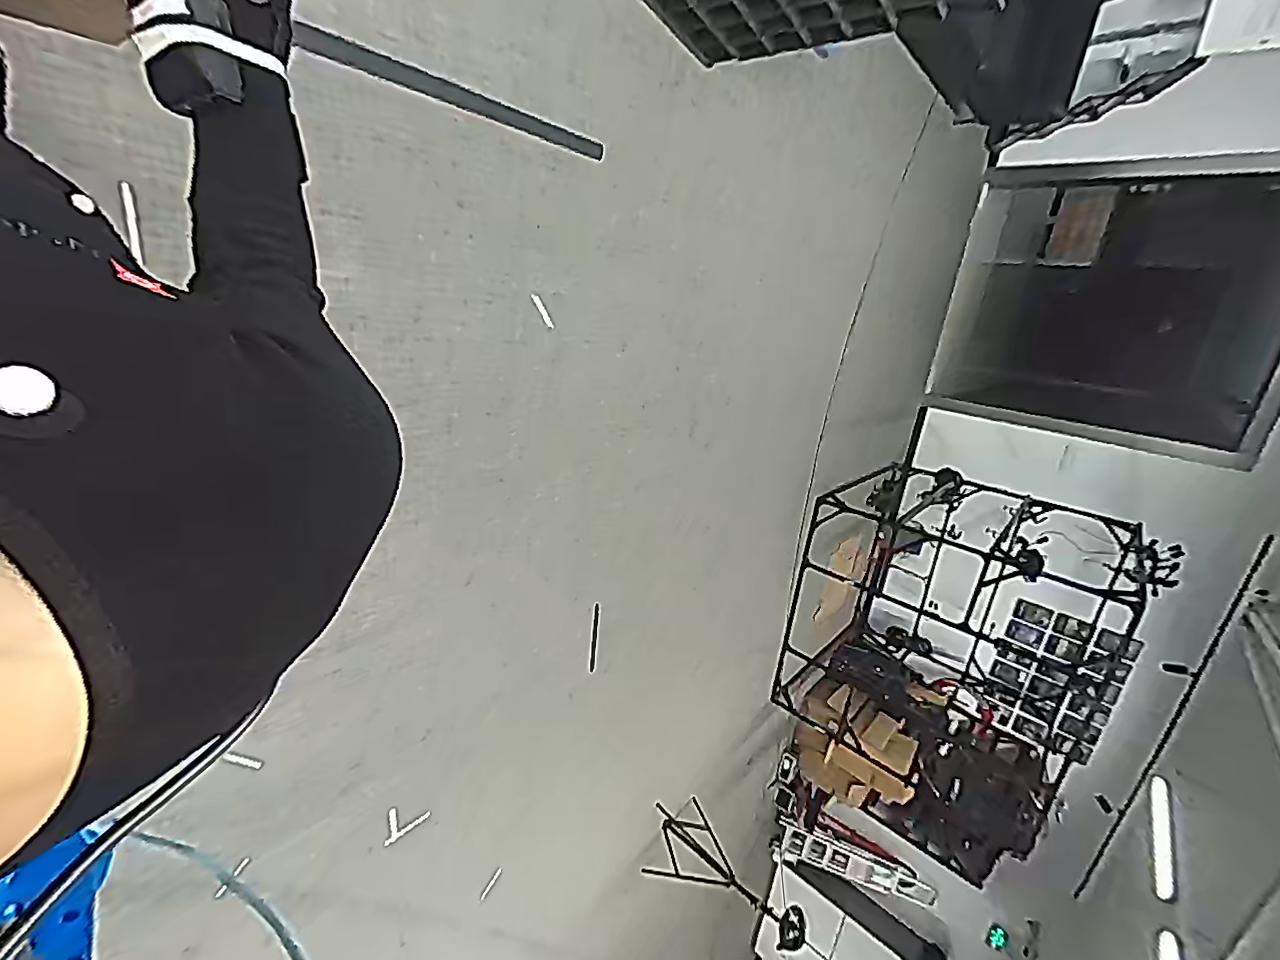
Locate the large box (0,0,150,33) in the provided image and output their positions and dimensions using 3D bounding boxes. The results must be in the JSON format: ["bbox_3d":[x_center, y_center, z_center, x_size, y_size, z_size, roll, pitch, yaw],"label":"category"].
[{"bbox_3d":[-0.537,-0.496,0.263,0.408,0.320,0.320,-17,124,-47],"label":"large box"}]

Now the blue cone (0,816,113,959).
[{"bbox_3d":[-1.235,0.932,1.144,0.193,0.380,0.192,18,93,-54],"label":"blue cone"}]
